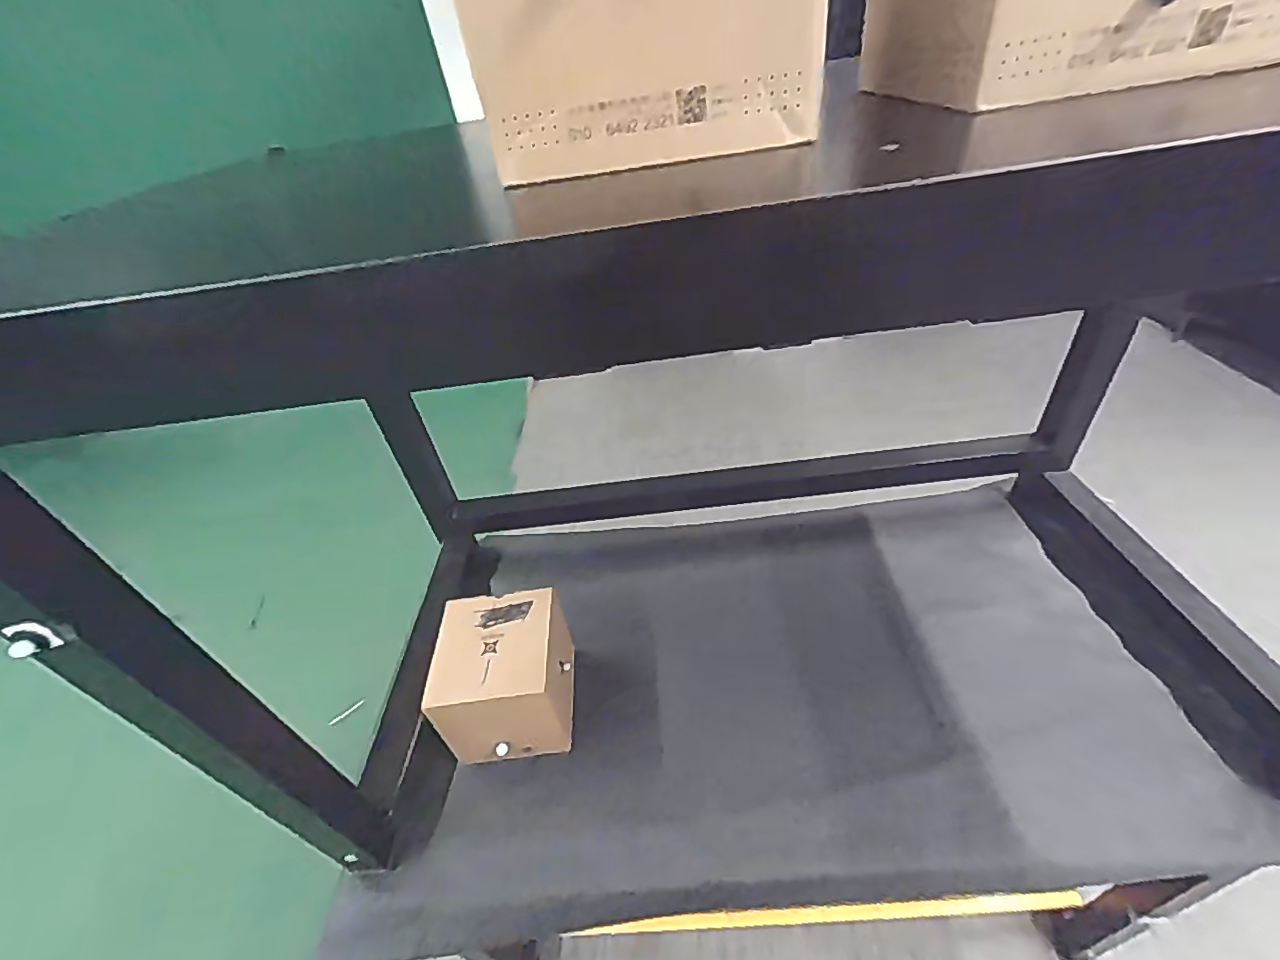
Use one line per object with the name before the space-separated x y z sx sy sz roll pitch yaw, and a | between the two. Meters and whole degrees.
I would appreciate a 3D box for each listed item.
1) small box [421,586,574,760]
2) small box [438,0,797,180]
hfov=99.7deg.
small box | -0.198 0.287 0.808 0.168 0.176 0.179 -8 39 2
small box | -0.010 -0.277 0.296 0.168 0.176 0.179 -5 38 6
